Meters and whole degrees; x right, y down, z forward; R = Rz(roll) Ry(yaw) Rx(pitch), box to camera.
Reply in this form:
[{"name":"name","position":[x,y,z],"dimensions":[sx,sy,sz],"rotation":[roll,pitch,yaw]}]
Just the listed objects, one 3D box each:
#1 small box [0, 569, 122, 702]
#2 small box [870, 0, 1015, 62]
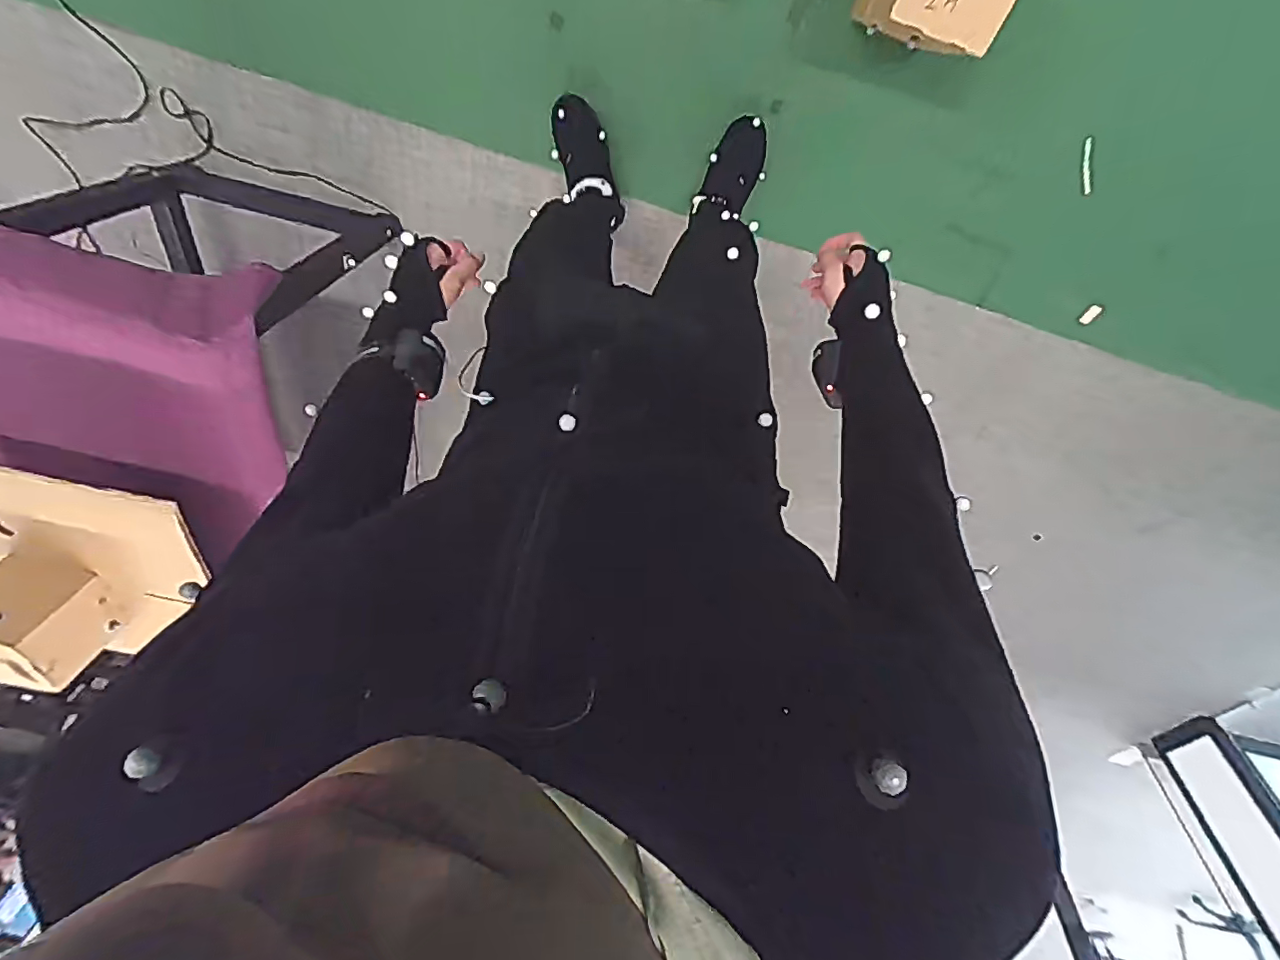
[{"name":"small box","position":[-1.160,0.294,1.036],"dimensions":[0.179,0.176,0.168],"rotation":[13,129,-2]},{"name":"small box","position":[0.488,-0.792,0.844],"dimensions":[0.168,0.176,0.179],"rotation":[17,131,-6]}]
